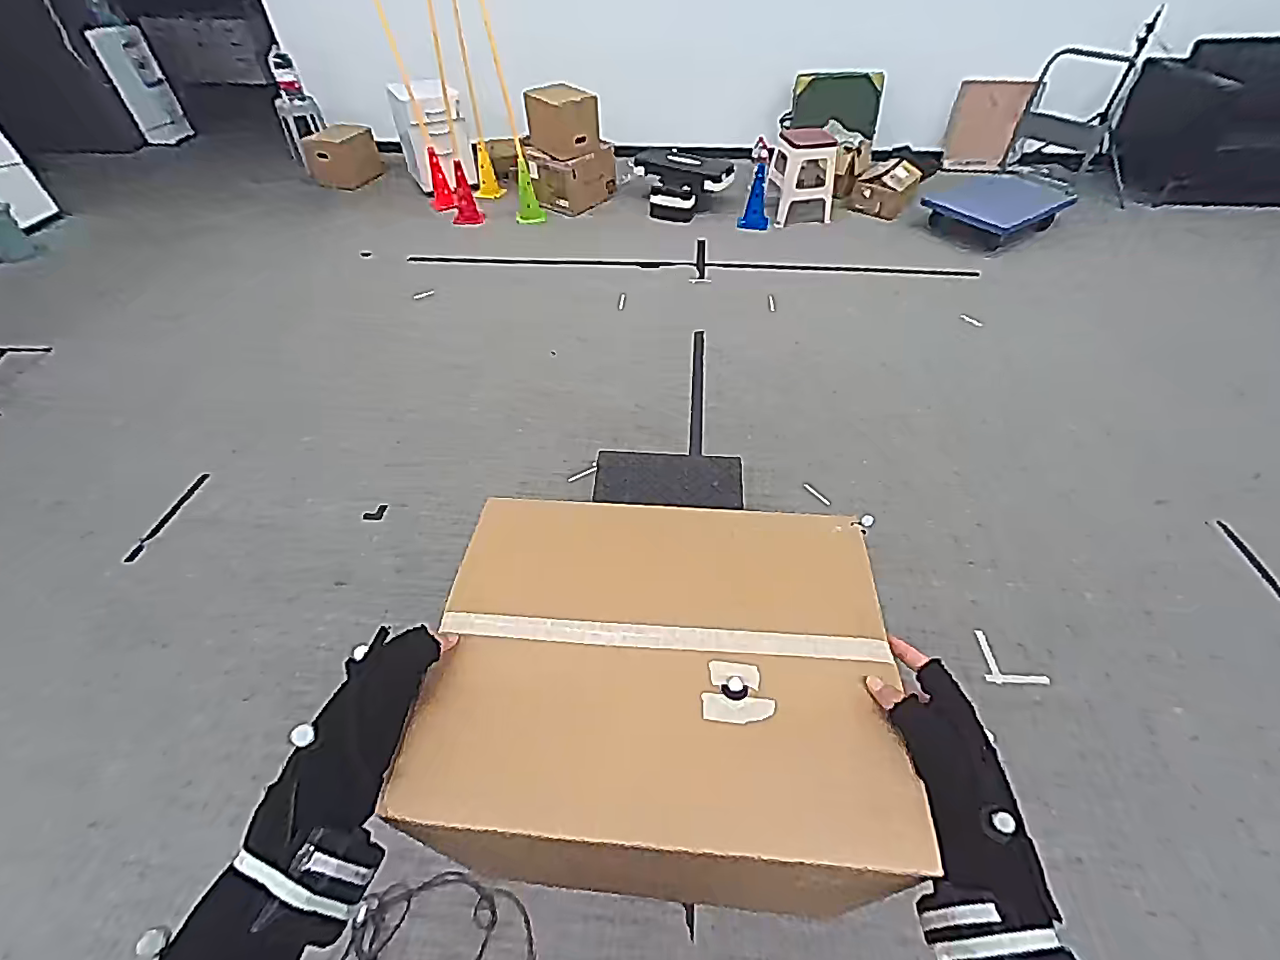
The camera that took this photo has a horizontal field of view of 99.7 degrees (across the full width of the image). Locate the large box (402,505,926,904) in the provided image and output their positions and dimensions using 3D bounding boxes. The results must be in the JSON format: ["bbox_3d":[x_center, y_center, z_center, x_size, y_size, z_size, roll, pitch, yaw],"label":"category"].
[{"bbox_3d":[0.025,0.250,0.611,0.408,0.320,0.320,3,47,5],"label":"large box"}]
